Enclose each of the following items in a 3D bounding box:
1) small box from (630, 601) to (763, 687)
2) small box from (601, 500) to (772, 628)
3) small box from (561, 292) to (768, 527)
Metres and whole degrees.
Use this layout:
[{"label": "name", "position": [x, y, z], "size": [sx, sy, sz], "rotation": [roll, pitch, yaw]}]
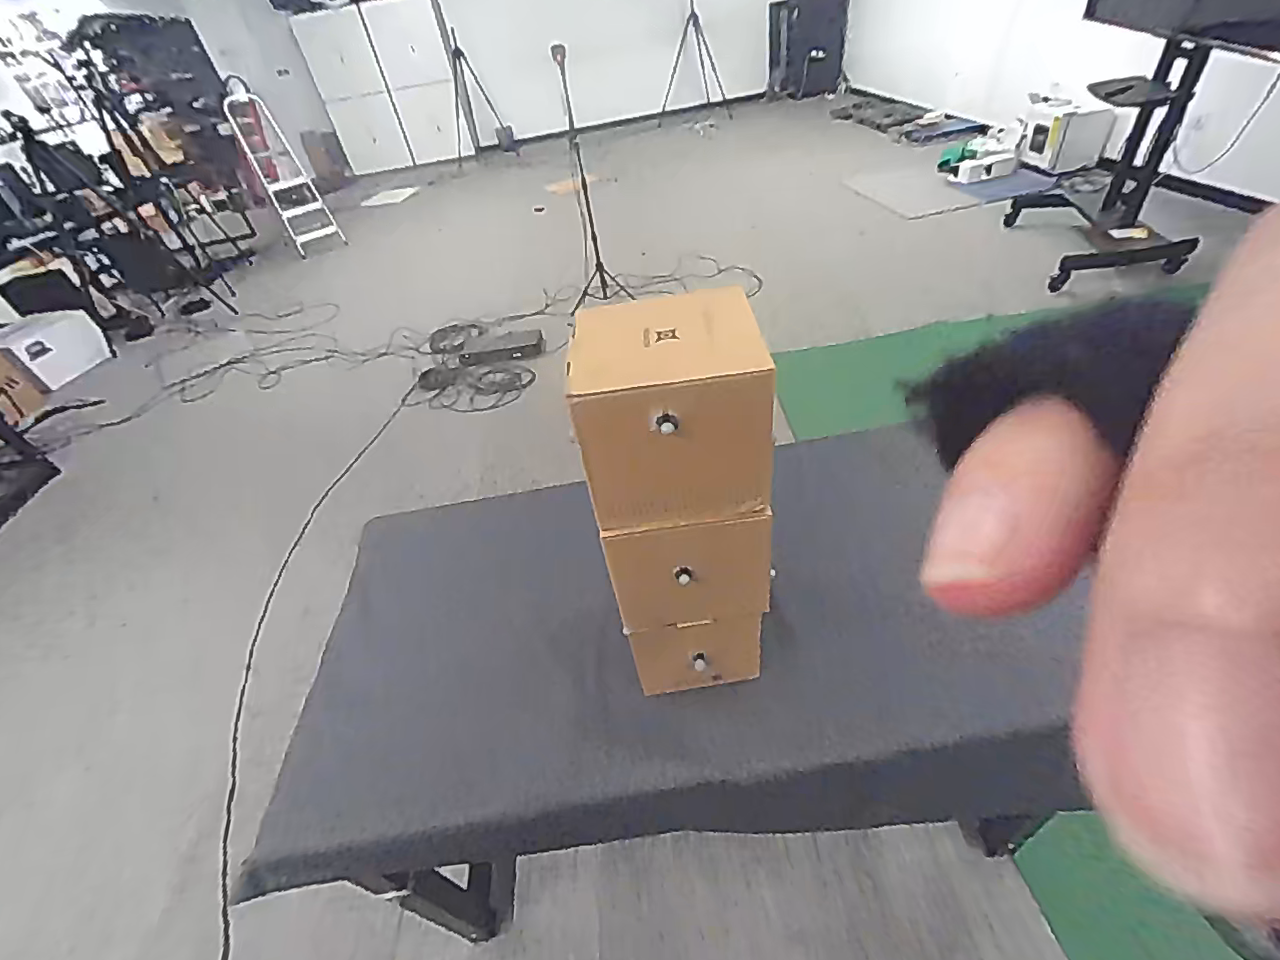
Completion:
[{"label": "small box", "position": [0.074, 0.174, 0.768], "size": [0.168, 0.176, 0.179], "rotation": [-11, 41, 1]}, {"label": "small box", "position": [0.055, 0.057, 0.654], "size": [0.179, 0.176, 0.168], "rotation": [-10, 41, 4]}, {"label": "small box", "position": [0.030, -0.068, 0.554], "size": [0.179, 0.176, 0.168], "rotation": [-8, 42, 4]}]
